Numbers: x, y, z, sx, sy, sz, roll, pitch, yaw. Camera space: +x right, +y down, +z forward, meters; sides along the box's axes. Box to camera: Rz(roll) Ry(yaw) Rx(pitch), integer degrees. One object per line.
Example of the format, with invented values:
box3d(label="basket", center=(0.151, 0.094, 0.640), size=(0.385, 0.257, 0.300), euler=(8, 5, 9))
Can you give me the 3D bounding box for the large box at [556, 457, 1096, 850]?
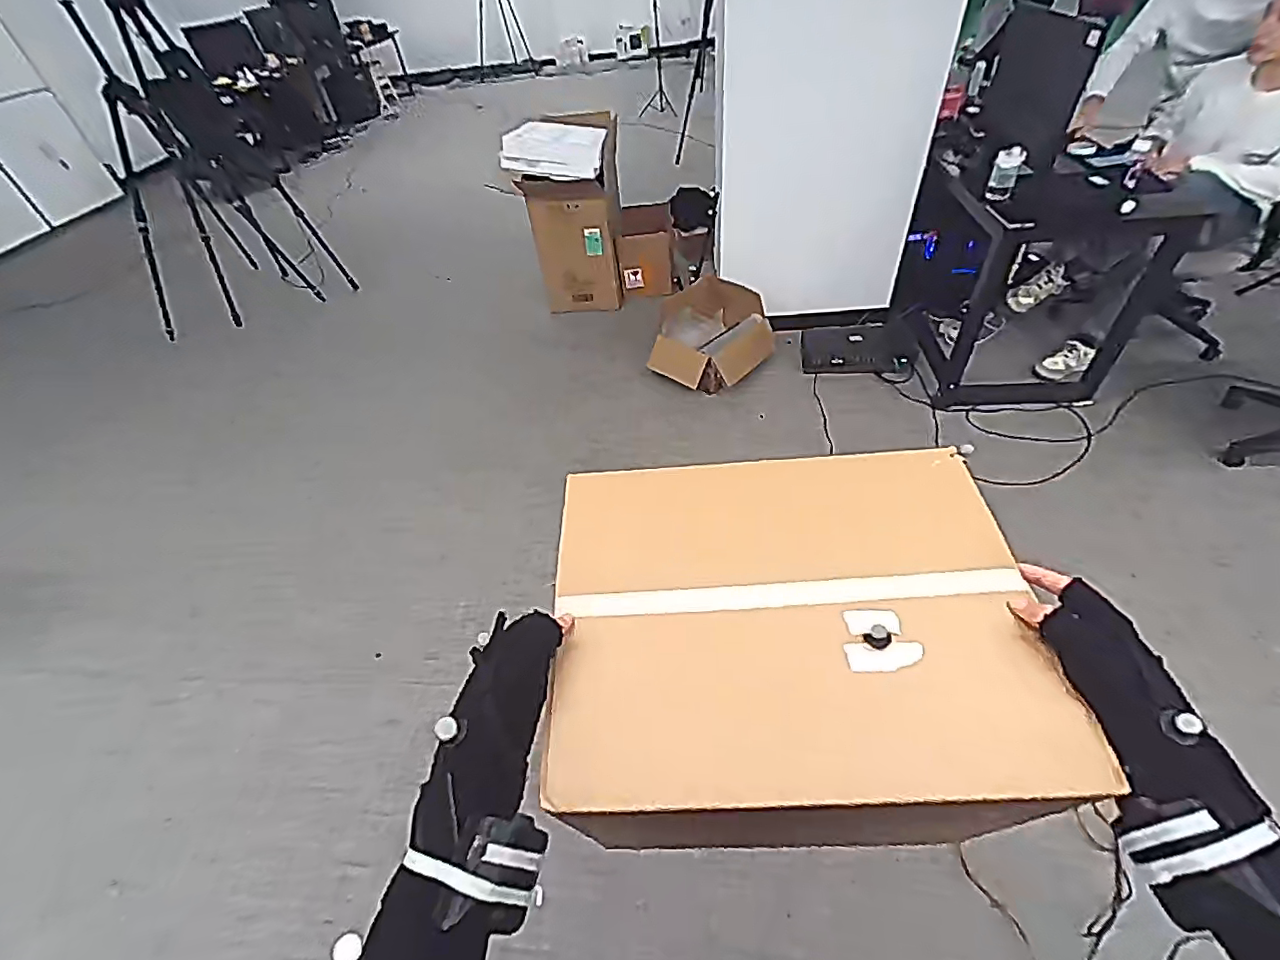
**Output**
box3d(label="large box", center=(0.140, 0.203, 0.604), size=(0.408, 0.320, 0.320), euler=(-4, 51, 3))
